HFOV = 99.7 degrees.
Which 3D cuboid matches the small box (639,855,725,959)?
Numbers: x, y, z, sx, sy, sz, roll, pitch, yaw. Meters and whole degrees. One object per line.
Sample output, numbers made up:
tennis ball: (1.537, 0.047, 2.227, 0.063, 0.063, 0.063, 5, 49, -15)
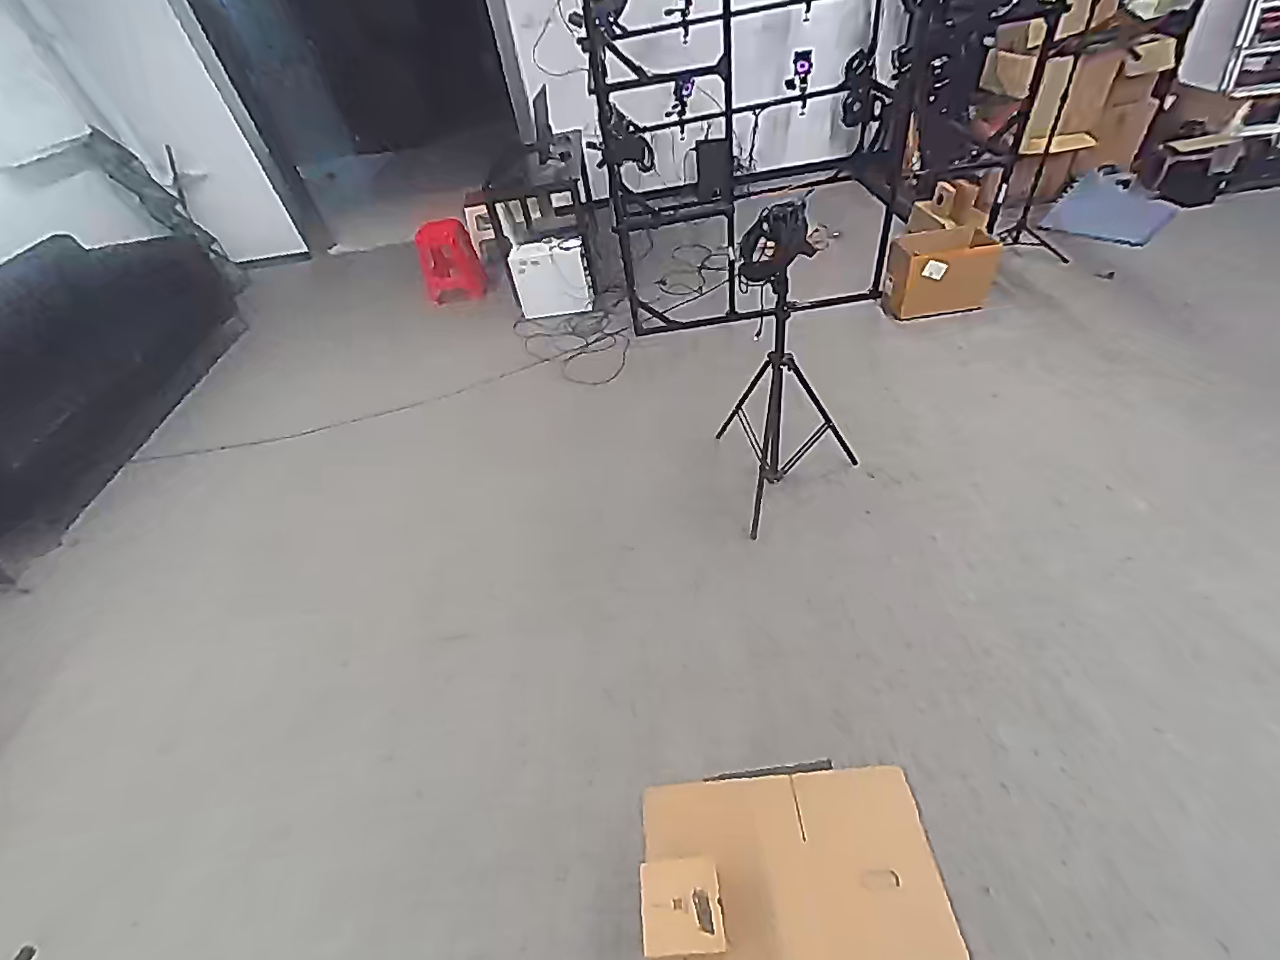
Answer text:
small box: (0.097, 0.968, 1.223, 0.179, 0.176, 0.168, -8, 44, 4)
